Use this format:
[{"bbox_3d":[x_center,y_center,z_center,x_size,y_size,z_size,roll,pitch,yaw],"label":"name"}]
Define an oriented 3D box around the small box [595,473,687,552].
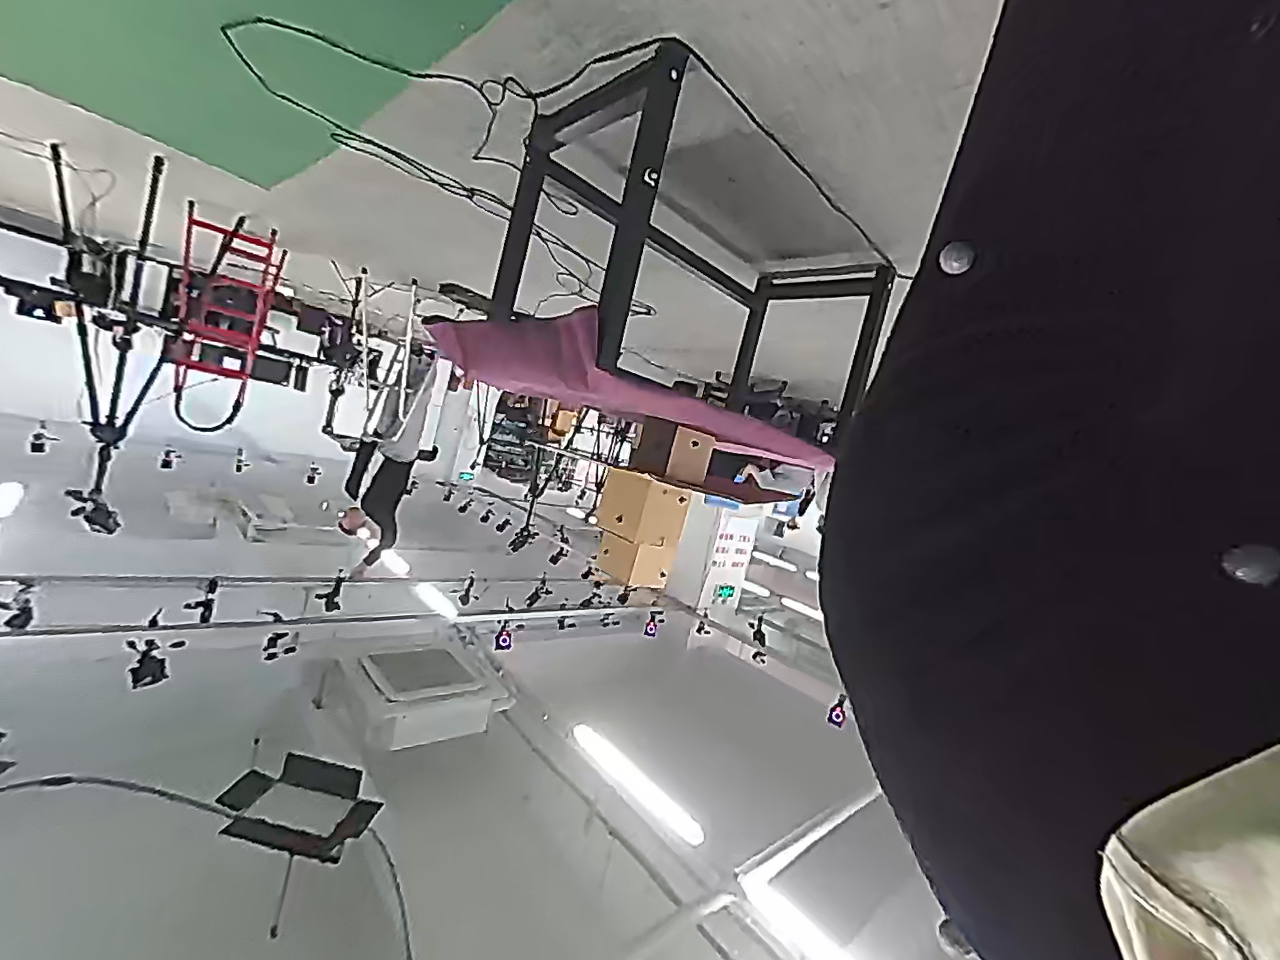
[{"bbox_3d":[0.008,0.085,1.459,0.168,0.176,0.179,14,-178,-43],"label":"small box"}]
